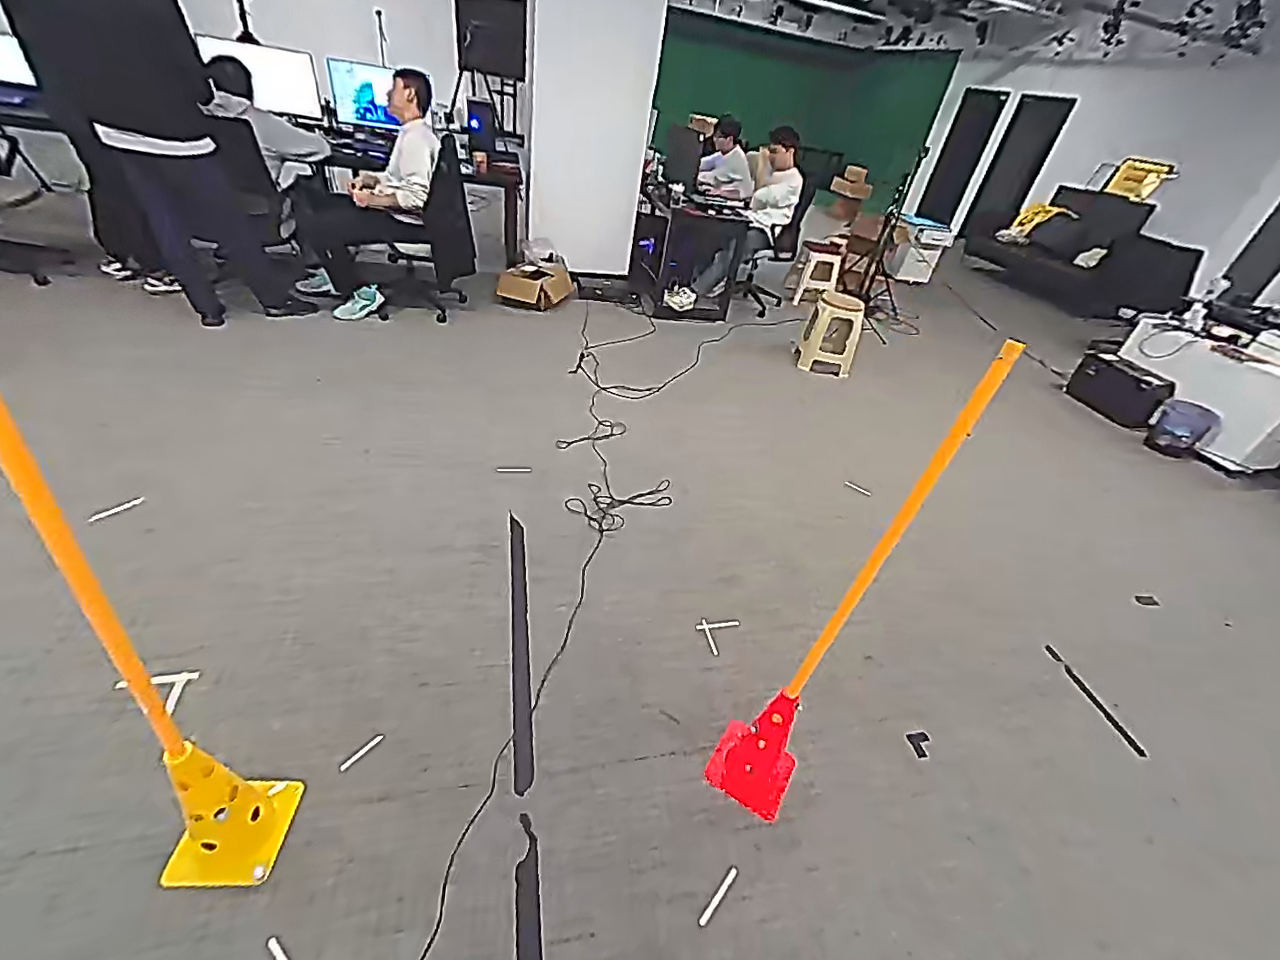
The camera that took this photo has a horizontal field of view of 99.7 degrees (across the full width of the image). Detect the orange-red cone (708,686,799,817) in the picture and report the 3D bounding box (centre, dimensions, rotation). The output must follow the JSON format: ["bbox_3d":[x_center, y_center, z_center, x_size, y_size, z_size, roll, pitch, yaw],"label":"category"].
[{"bbox_3d":[0.321,0.621,1.325,0.198,0.360,0.199,27,41,22],"label":"orange-red cone"}]
